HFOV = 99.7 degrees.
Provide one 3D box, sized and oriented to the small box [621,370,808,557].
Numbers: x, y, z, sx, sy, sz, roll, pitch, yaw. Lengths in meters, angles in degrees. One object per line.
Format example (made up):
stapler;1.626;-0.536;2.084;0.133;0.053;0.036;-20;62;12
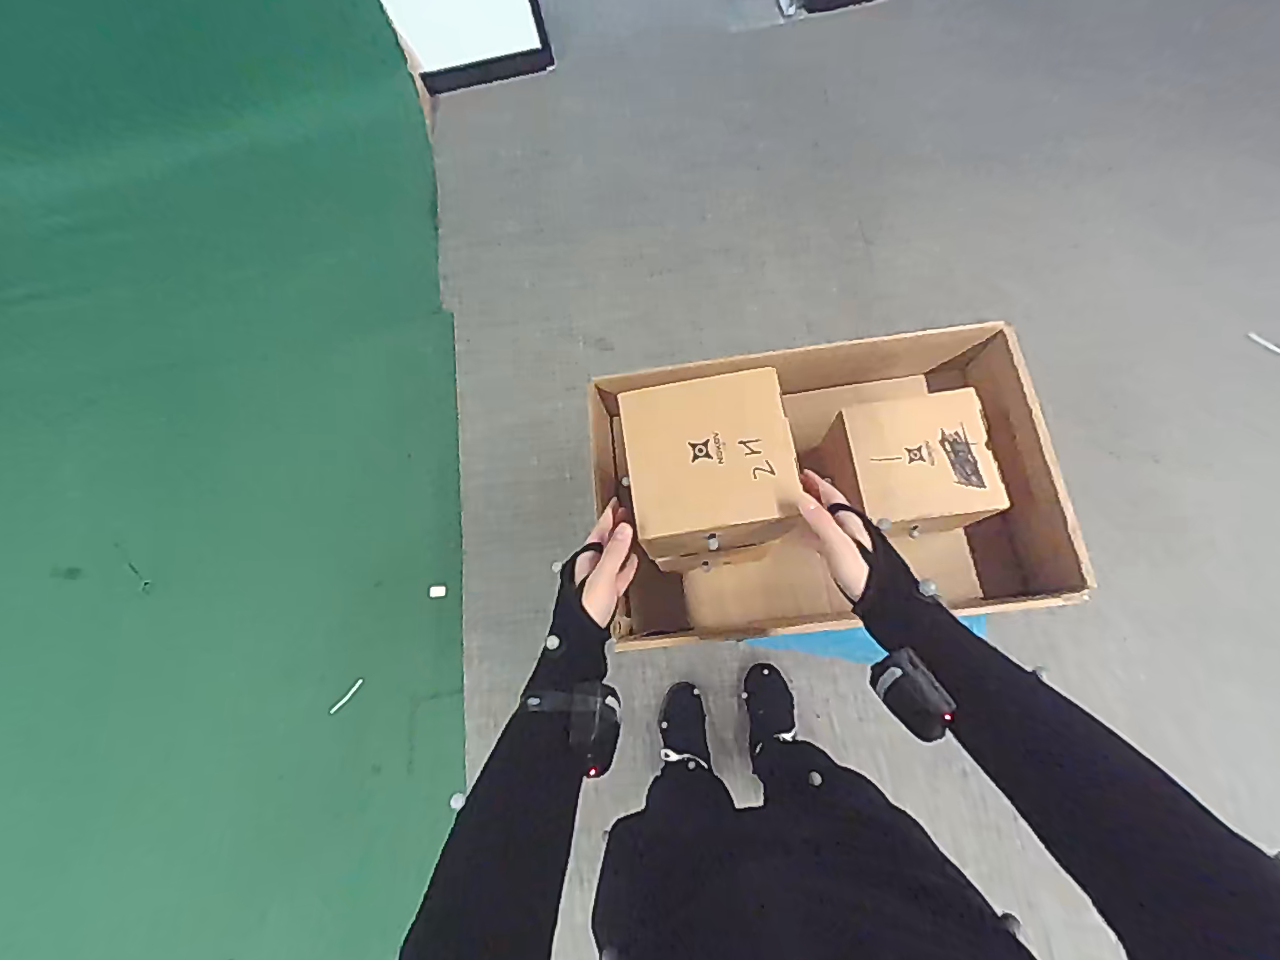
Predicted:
small box;0.082;-0.007;0.640;0.179;0.176;0.168;-9;74;4
